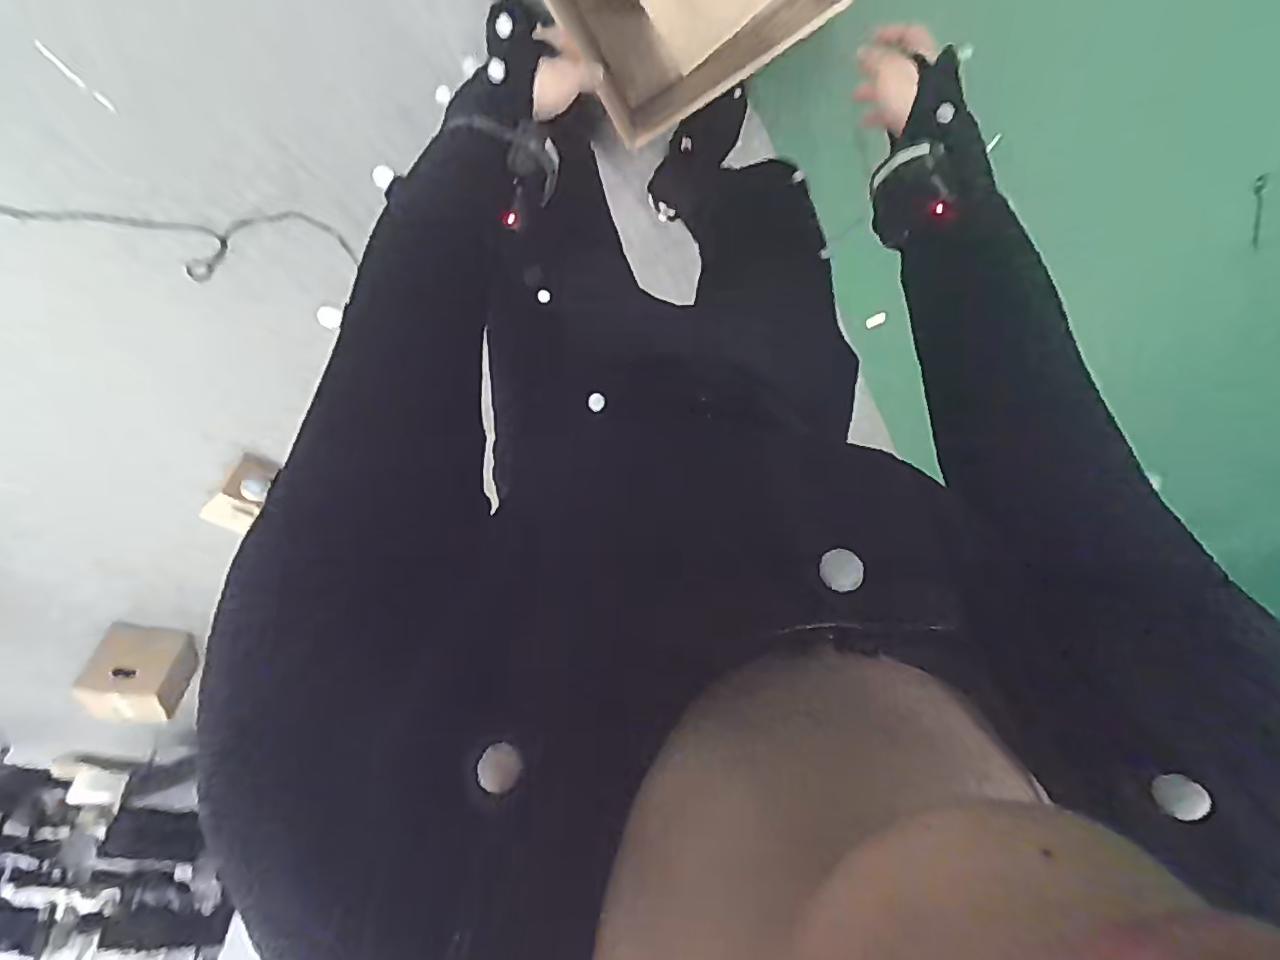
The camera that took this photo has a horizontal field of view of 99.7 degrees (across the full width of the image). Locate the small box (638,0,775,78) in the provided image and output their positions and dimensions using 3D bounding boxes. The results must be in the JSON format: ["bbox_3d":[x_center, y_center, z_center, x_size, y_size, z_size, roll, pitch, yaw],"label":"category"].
[{"bbox_3d":[0.077,-0.644,0.648,0.179,0.176,0.168,-26,132,29],"label":"small box"}]
